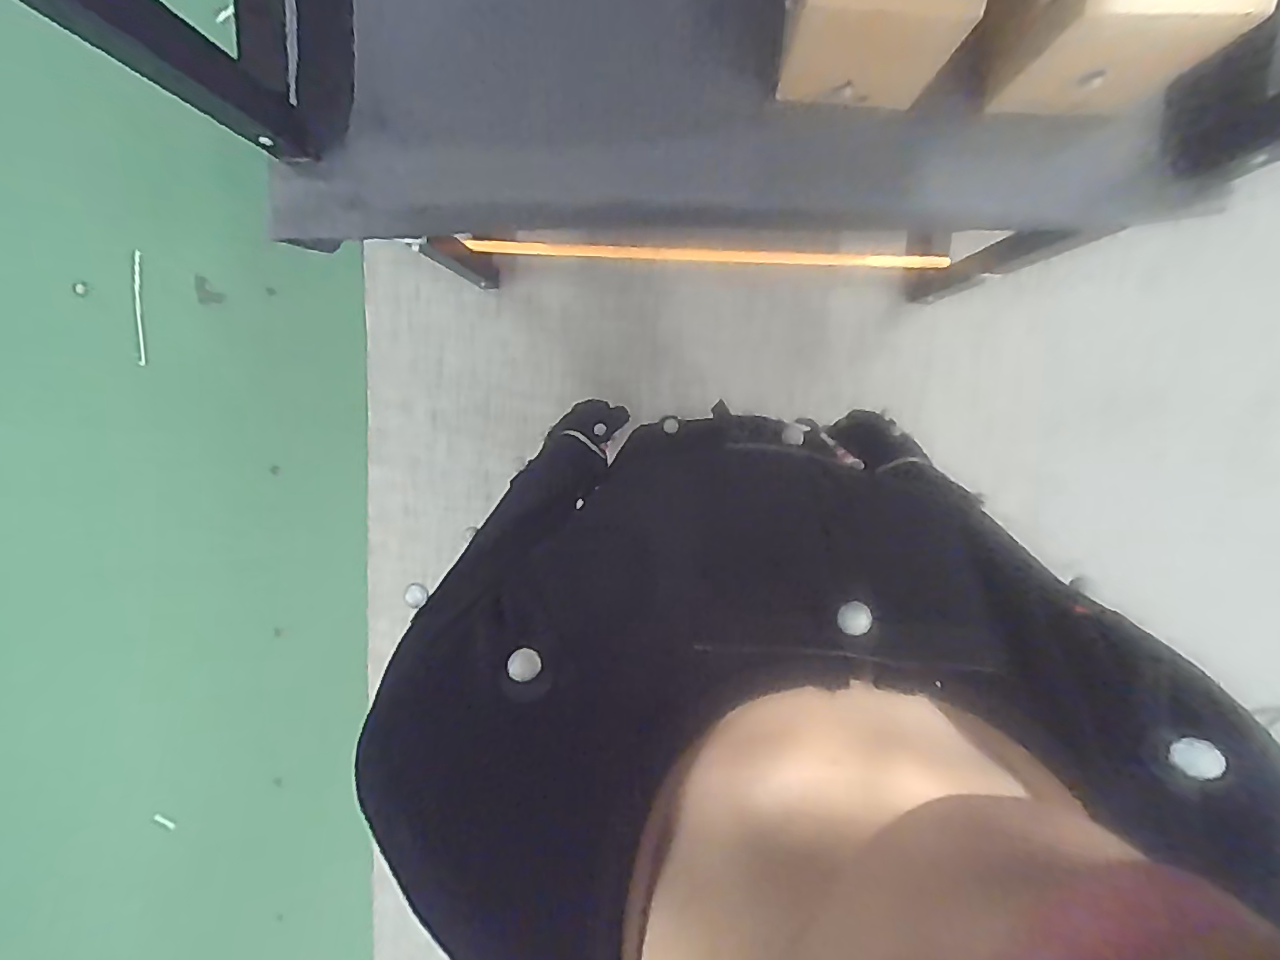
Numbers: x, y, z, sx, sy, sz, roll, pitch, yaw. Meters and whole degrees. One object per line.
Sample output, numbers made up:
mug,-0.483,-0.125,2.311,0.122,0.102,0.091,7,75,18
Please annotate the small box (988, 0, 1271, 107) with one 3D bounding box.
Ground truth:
small box,0.497,-0.522,0.562,0.168,0.176,0.179,3,97,3
